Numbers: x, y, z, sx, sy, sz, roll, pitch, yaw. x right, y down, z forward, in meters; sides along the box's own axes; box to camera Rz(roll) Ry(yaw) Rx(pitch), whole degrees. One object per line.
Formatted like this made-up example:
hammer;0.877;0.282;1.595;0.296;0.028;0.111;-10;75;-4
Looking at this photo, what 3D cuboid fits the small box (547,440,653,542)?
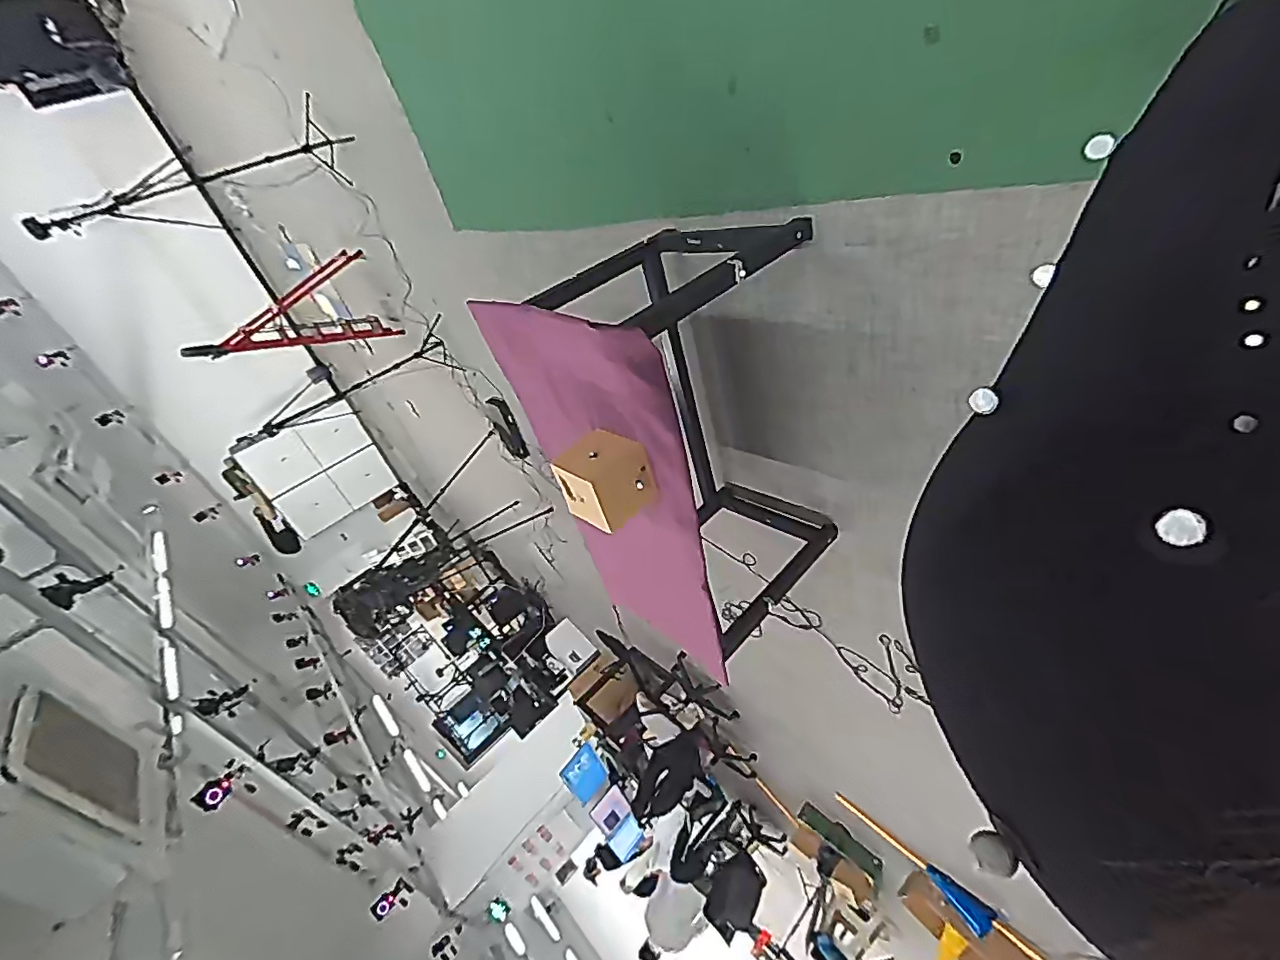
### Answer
small box;-0.096;0.019;1.339;0.179;0.176;0.168;23;141;44
